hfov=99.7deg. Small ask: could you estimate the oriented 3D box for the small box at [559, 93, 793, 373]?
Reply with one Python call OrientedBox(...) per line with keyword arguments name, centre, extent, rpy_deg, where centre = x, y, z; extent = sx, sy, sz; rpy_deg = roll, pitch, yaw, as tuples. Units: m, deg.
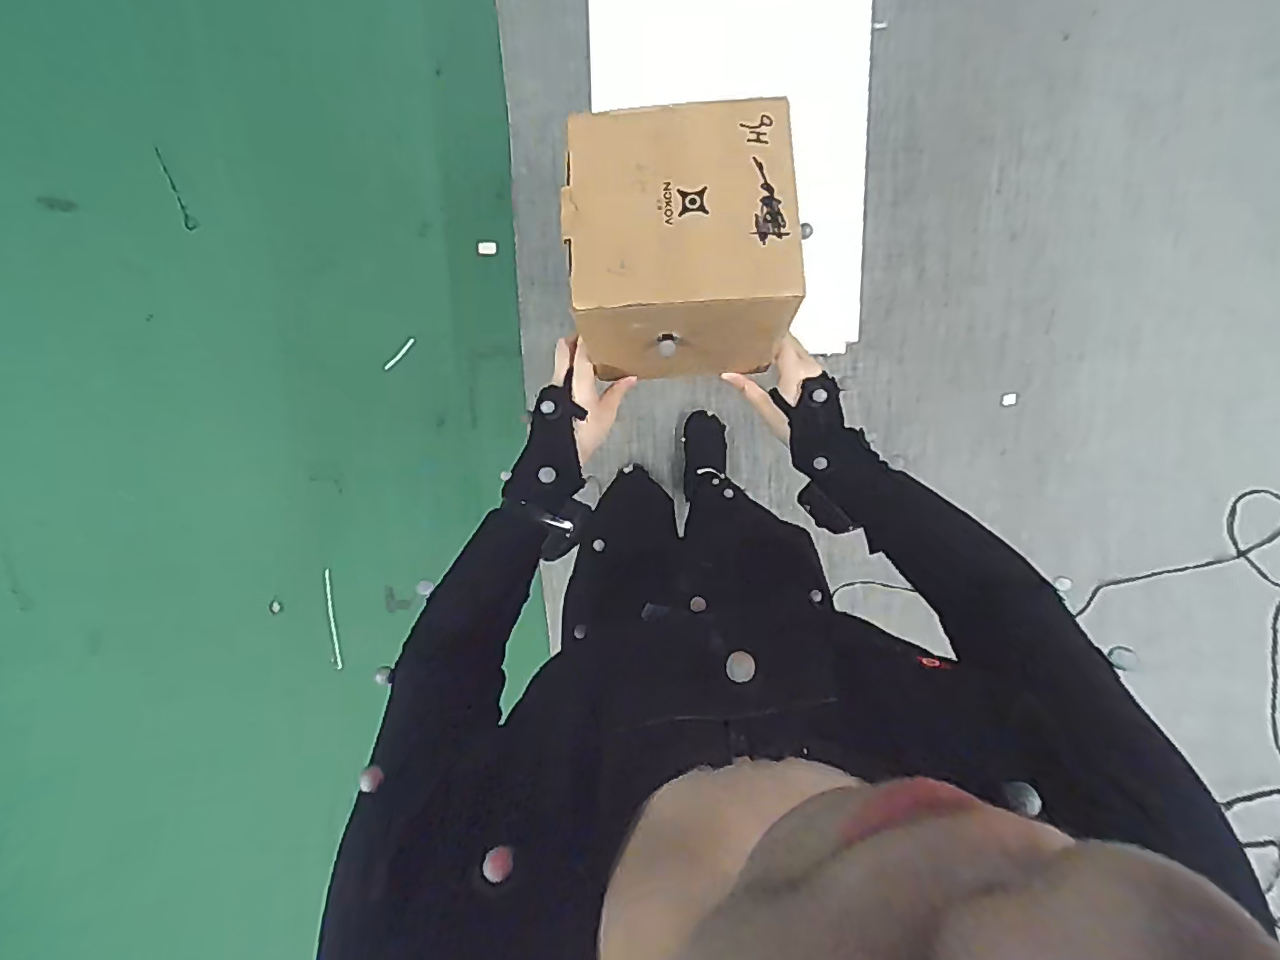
OrientedBox(name="small box", centre=(0.030, -0.204, 0.492), extent=(0.179, 0.176, 0.168), rpy_deg=(-3, 82, 3))
